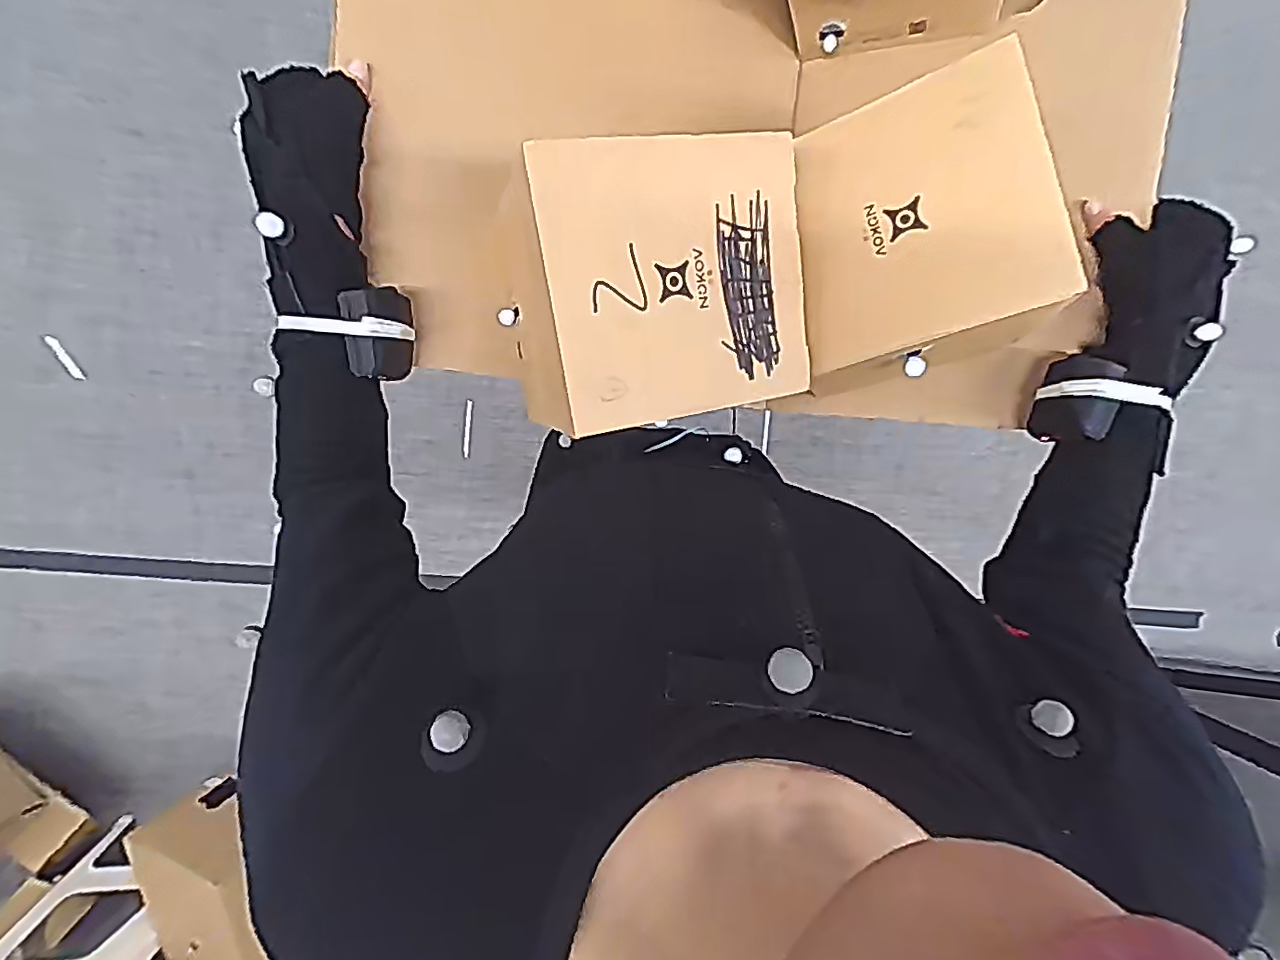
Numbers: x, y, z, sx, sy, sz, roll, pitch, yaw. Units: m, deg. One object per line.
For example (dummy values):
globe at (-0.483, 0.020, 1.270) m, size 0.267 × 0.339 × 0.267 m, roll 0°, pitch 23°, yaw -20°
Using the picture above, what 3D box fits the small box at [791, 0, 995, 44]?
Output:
small box at (0.208, -0.485, 0.421) m, size 0.168 × 0.176 × 0.179 m, roll 10°, pitch 94°, yaw 23°
